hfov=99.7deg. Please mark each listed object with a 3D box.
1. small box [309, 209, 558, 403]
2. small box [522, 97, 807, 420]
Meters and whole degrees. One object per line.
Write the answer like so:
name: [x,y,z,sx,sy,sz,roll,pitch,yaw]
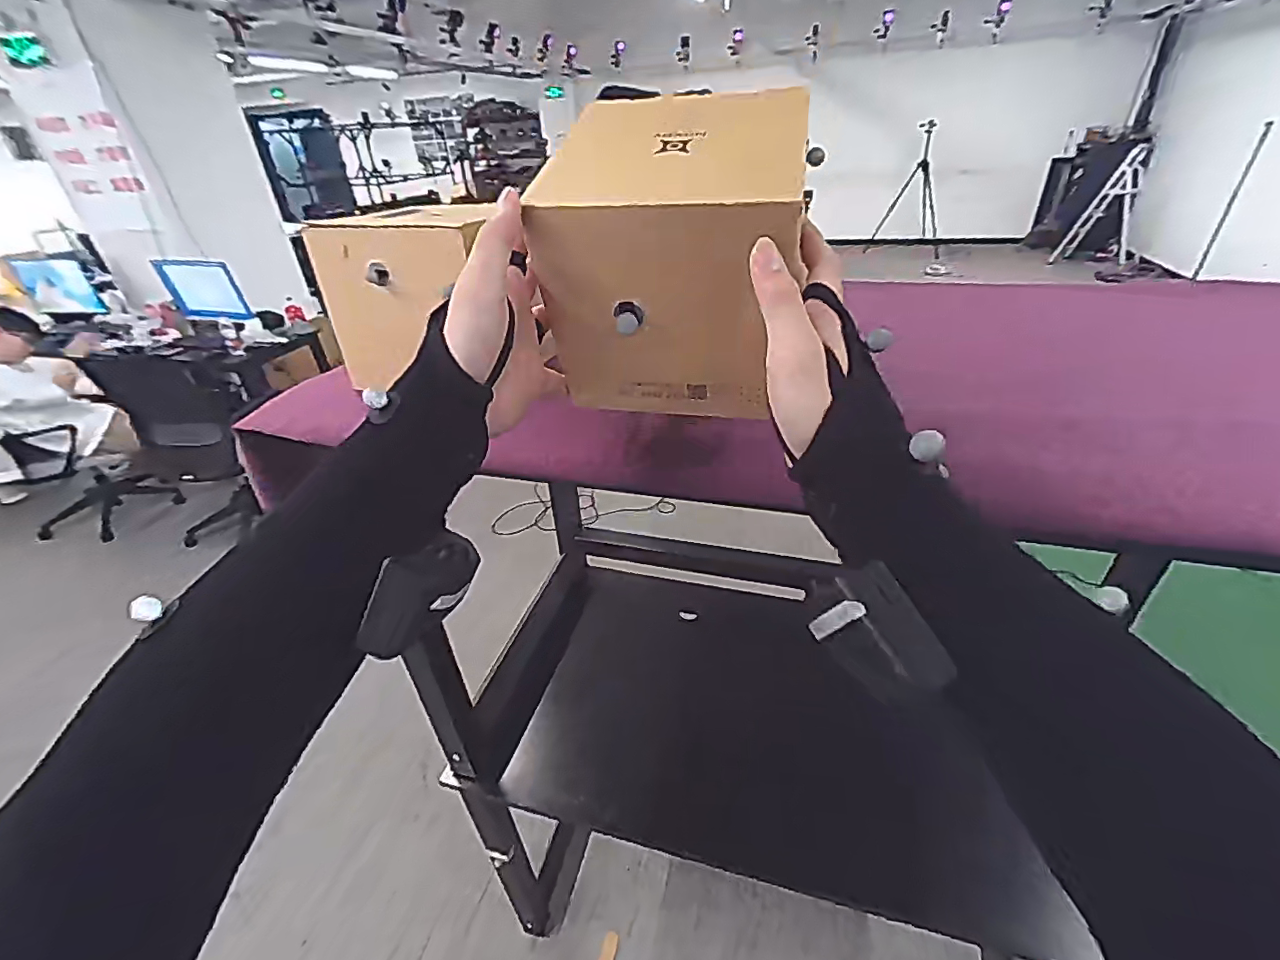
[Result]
small box: [-0.207,-0.194,0.591,0.179,0.176,0.168,8,33,16]
small box: [0.034,-0.164,0.418,0.168,0.176,0.179,5,52,13]
